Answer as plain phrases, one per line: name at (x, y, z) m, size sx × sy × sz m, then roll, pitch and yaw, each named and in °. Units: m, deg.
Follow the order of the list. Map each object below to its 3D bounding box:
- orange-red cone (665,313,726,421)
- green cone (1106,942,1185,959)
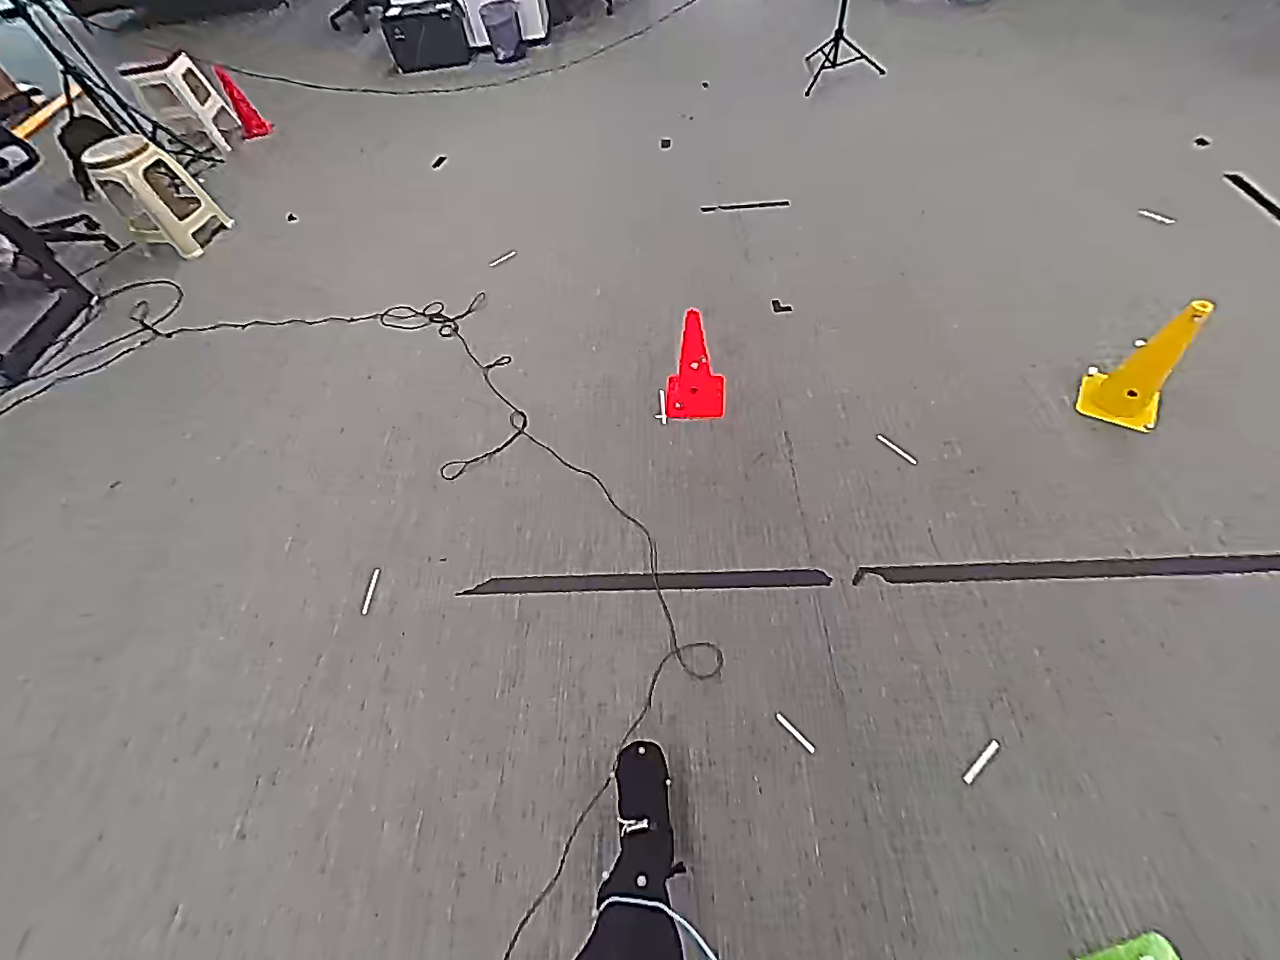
orange-red cone at (0.178, -0.379, 1.723) m, size 0.199 × 0.360 × 0.198 m, roll 4°, pitch 56°, yaw 8°
green cone at (0.876, 0.840, 0.785) m, size 0.202 × 0.368 × 0.200 m, roll -17°, pitch 54°, yaw -3°
